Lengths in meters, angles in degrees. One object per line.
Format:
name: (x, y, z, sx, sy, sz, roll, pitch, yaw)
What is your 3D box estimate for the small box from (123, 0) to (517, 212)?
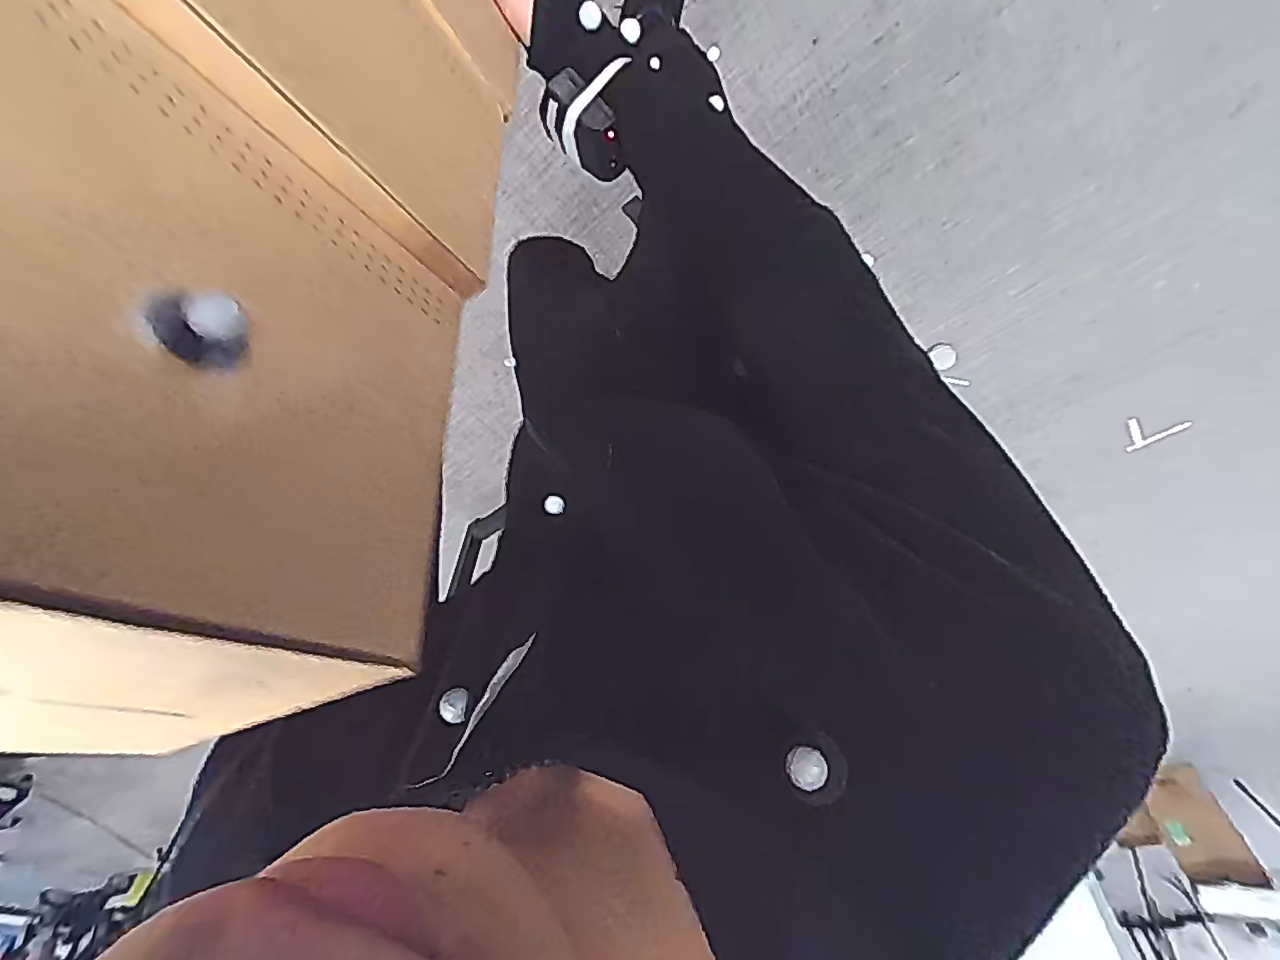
small box: (-0.194, -0.306, 0.333, 0.168, 0.176, 0.179, -20, 146, 22)

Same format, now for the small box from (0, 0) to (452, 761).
small box: (-0.183, -0.023, 0.165, 0.168, 0.176, 0.179, -23, 144, 25)
